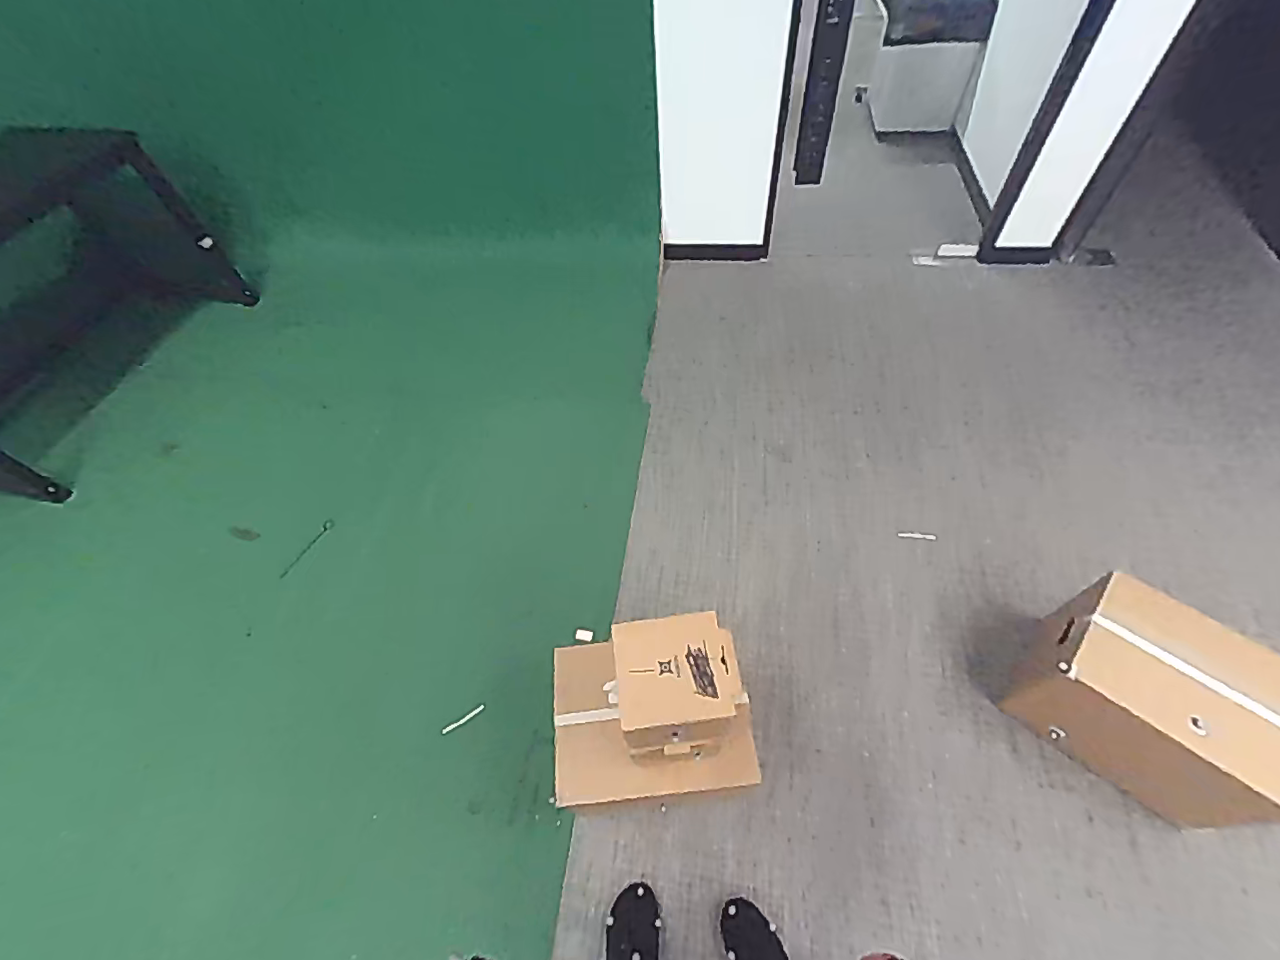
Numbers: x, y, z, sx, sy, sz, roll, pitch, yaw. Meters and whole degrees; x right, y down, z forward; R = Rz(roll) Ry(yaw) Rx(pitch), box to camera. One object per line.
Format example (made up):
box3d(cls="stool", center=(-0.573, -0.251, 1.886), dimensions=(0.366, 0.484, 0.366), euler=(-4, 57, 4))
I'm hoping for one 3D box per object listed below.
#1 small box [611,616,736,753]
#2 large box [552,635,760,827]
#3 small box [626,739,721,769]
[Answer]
box3d(cls="small box", center=(0.051, 0.342, 0.898), dimensions=(0.179, 0.176, 0.168), euler=(-7, 54, -1))
box3d(cls="large box", center=(0.032, 0.580, 1.234), dimensions=(0.408, 0.320, 0.320), euler=(-8, 53, 1))
box3d(cls="small box", center=(0.058, 0.441, 1.029), dimensions=(0.168, 0.176, 0.179), euler=(-6, 54, 0))
